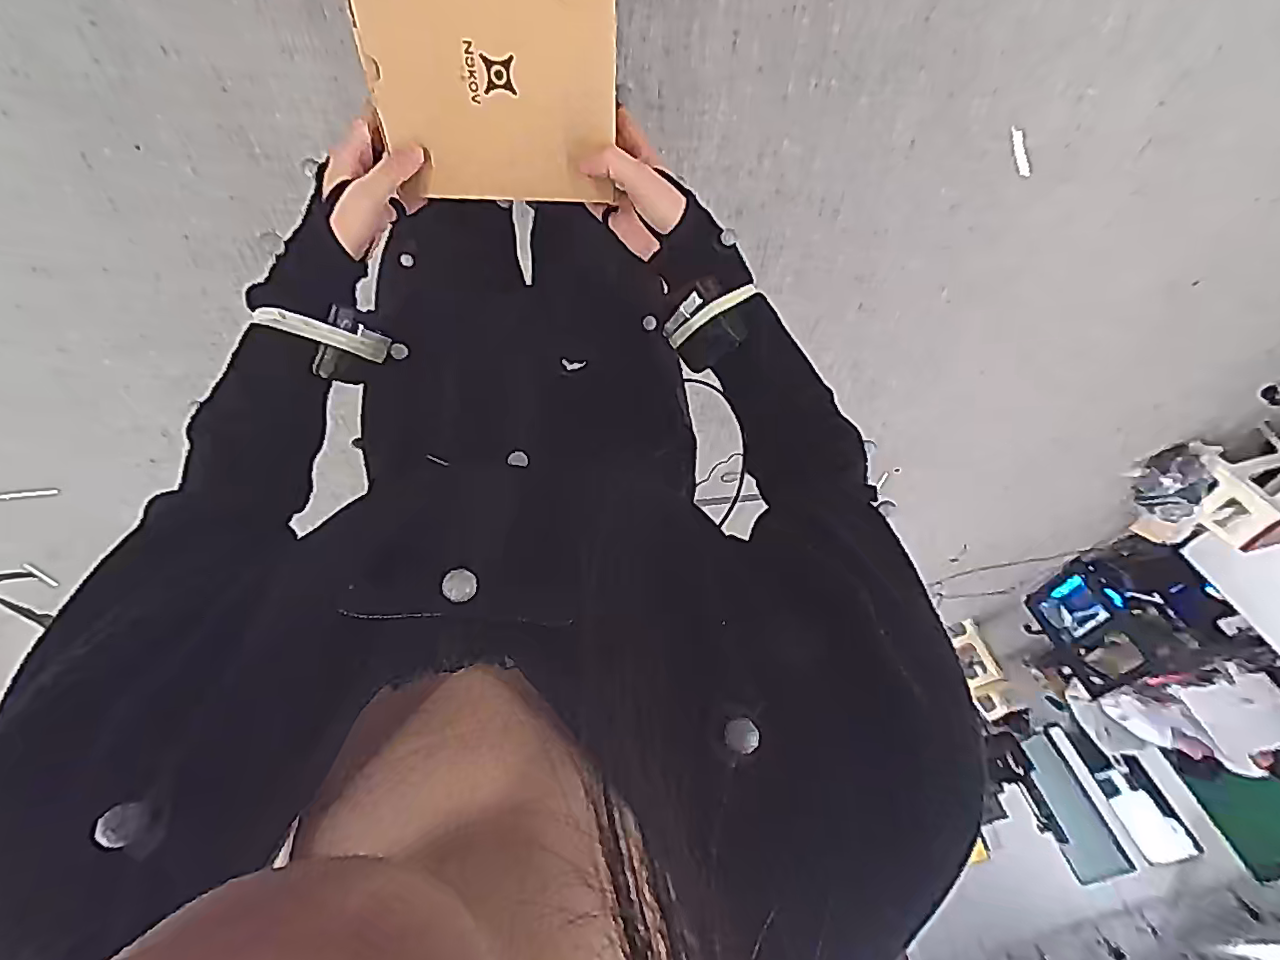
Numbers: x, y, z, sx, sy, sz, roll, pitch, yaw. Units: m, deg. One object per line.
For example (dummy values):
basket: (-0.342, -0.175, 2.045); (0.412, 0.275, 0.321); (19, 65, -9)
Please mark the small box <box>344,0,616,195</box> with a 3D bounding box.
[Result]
small box: (-0.108, -0.346, 0.431); (0.179, 0.176, 0.168); (0, 137, -2)
